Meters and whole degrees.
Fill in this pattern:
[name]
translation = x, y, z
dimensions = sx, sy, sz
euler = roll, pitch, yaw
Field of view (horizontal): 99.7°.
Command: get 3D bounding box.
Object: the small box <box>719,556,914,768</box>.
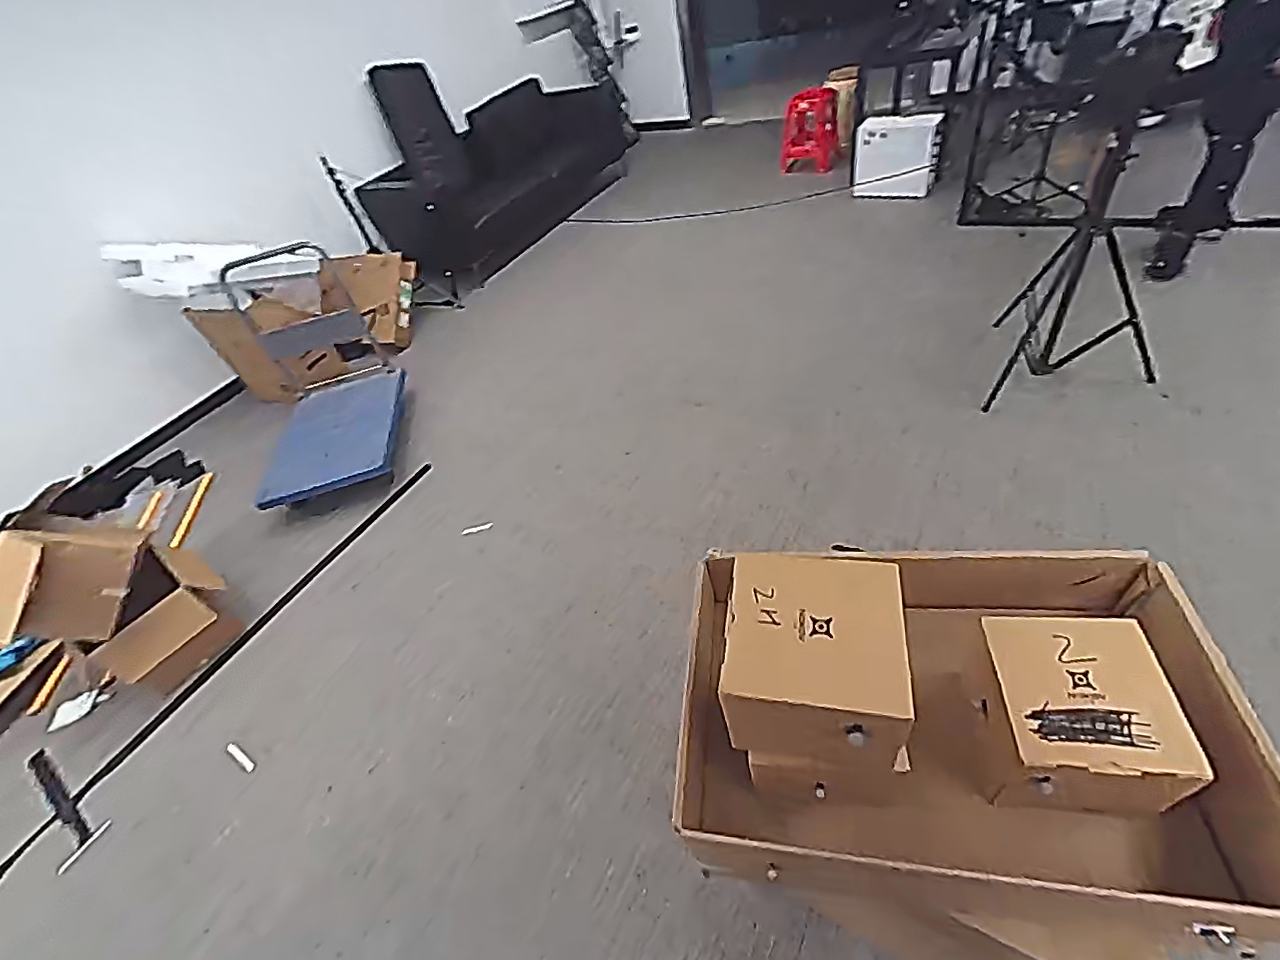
[small box]
translation = 0.194, 0.205, 0.609
dimensions = 0.179, 0.176, 0.168
euler = 1, 47, 18
